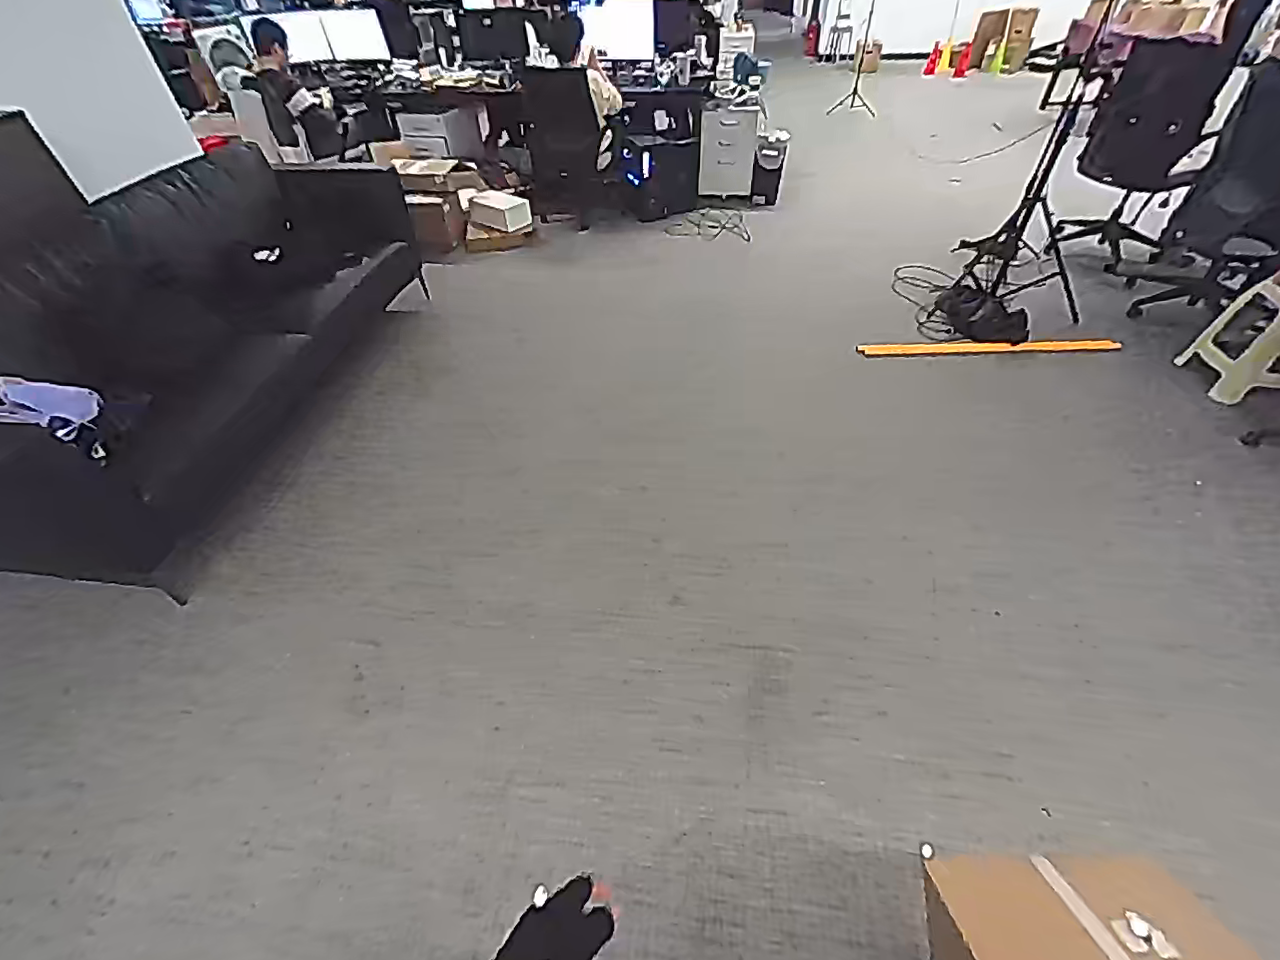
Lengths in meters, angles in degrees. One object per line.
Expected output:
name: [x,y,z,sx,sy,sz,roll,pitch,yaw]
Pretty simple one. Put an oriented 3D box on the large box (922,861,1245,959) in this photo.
large box: [0.570,0.728,0.606,0.320,0.320,0.408,-5,3,6]
